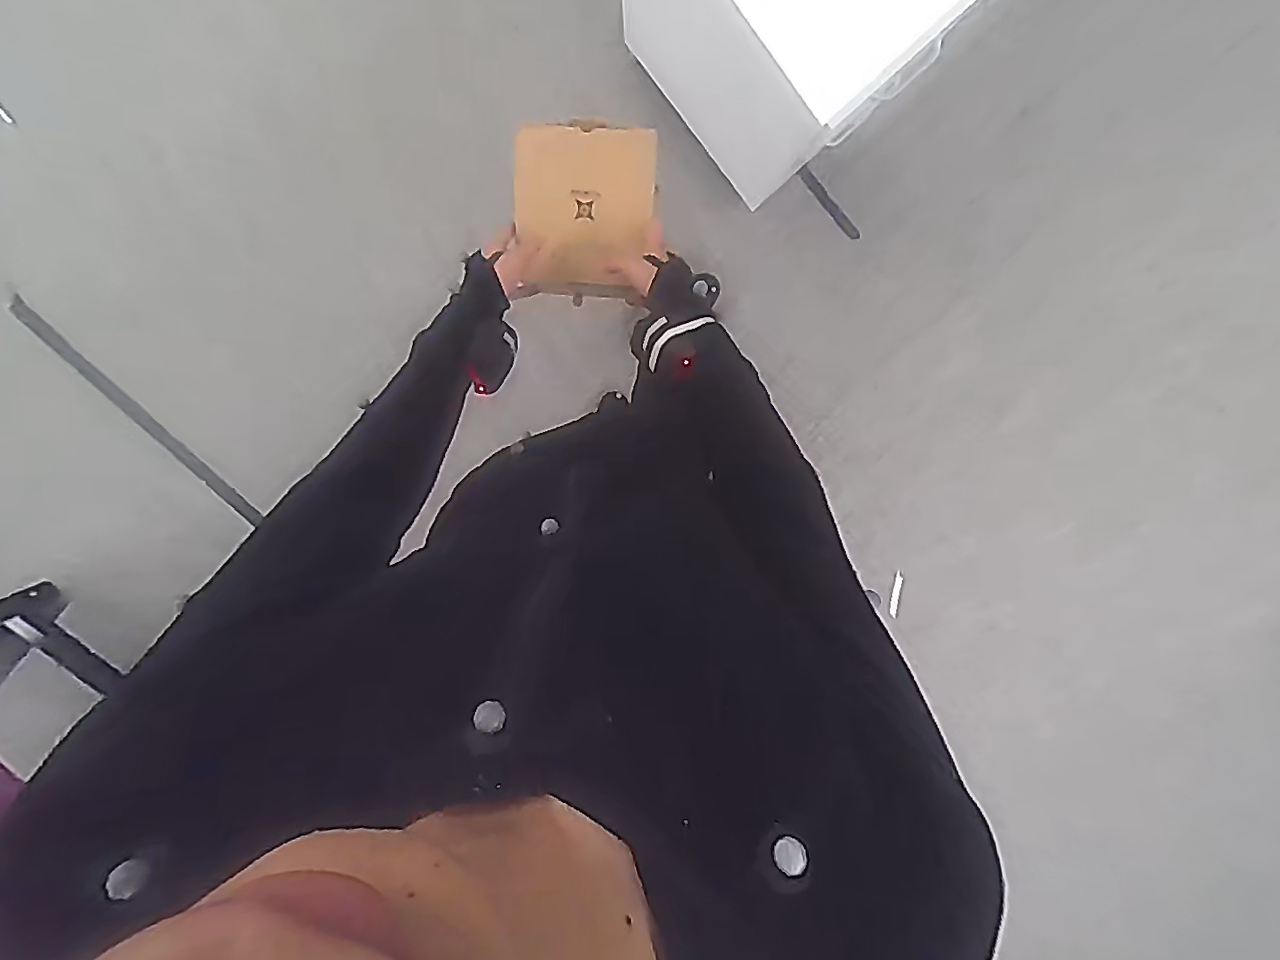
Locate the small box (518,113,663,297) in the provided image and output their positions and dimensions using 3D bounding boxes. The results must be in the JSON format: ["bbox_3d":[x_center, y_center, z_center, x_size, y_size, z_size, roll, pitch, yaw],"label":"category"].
[{"bbox_3d":[-0.063,-0.346,0.712,0.168,0.176,0.179,3,103,-2],"label":"small box"}]
